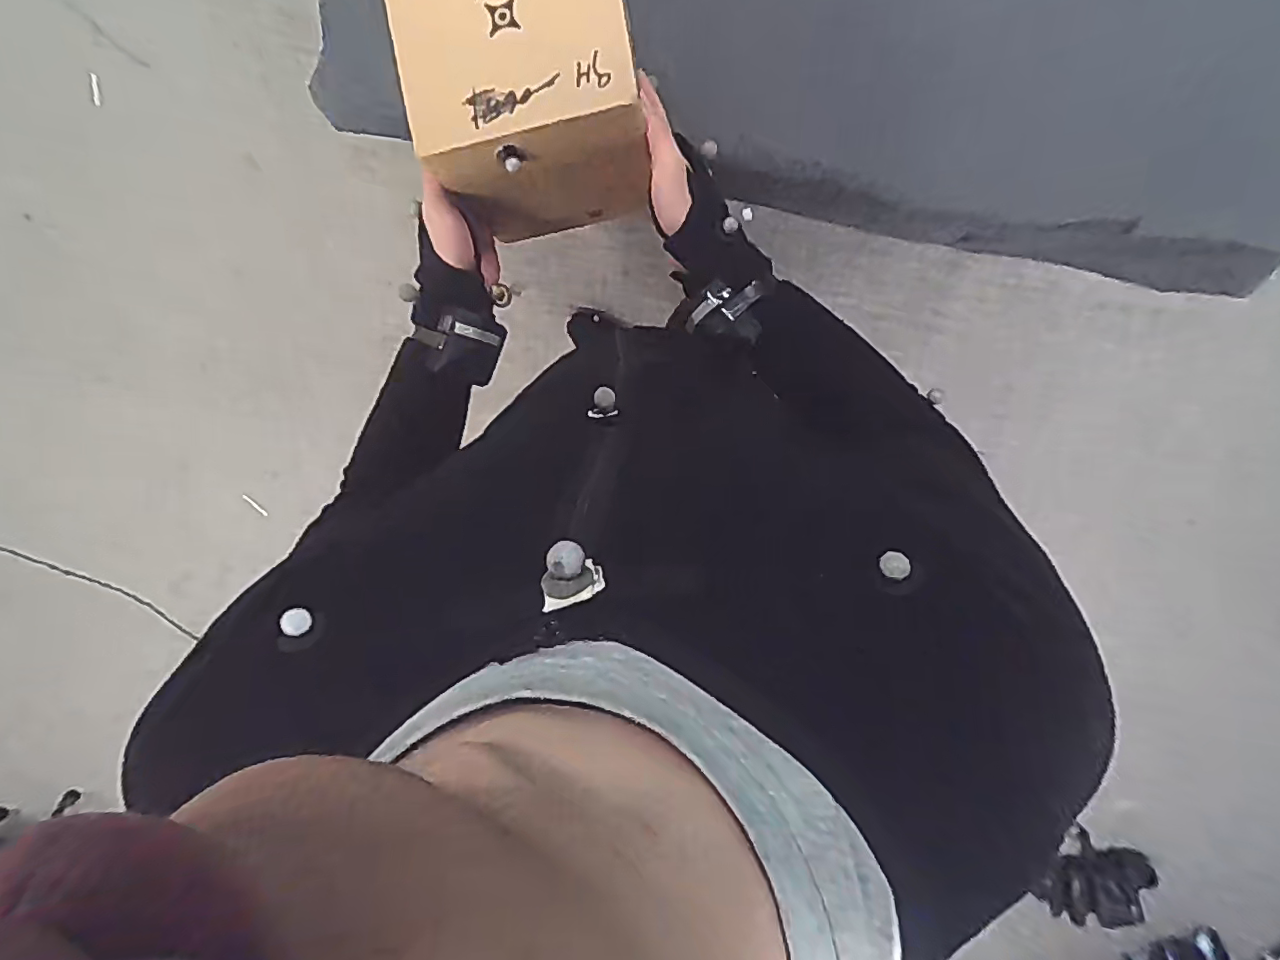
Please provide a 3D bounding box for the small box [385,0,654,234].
[{"bbox_3d":[-0.087,-0.336,0.448,0.168,0.176,0.179,-9,92,8],"label":"small box"}]
